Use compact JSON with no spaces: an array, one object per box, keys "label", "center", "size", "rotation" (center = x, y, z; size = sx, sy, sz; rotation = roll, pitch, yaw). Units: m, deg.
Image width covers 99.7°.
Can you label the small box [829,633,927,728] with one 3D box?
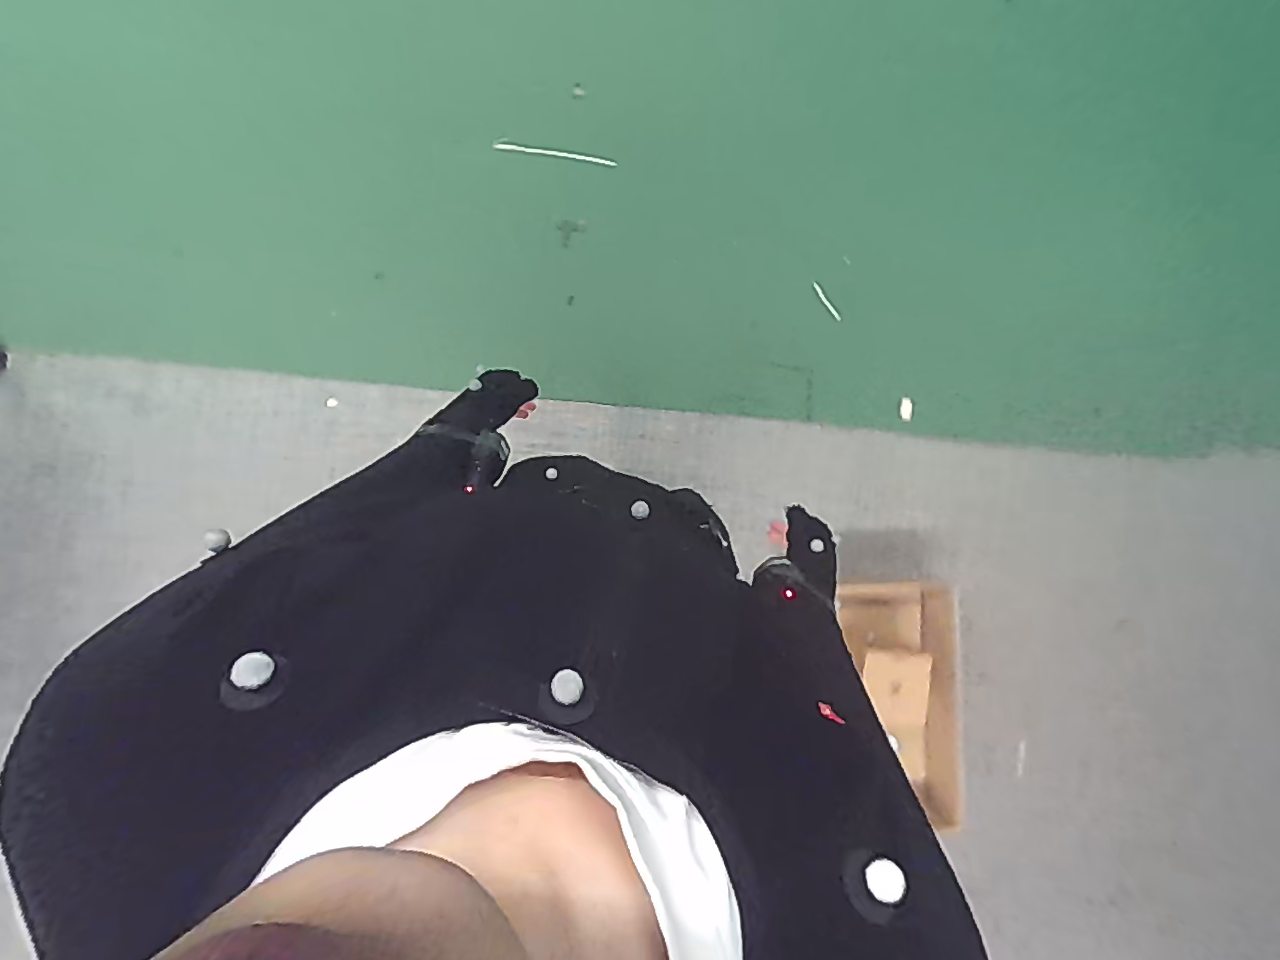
[{"label":"small box","center":[0.600,0.503,1.380],"size":[0.168,0.176,0.179],"rotation":[6,92,-3]}]
